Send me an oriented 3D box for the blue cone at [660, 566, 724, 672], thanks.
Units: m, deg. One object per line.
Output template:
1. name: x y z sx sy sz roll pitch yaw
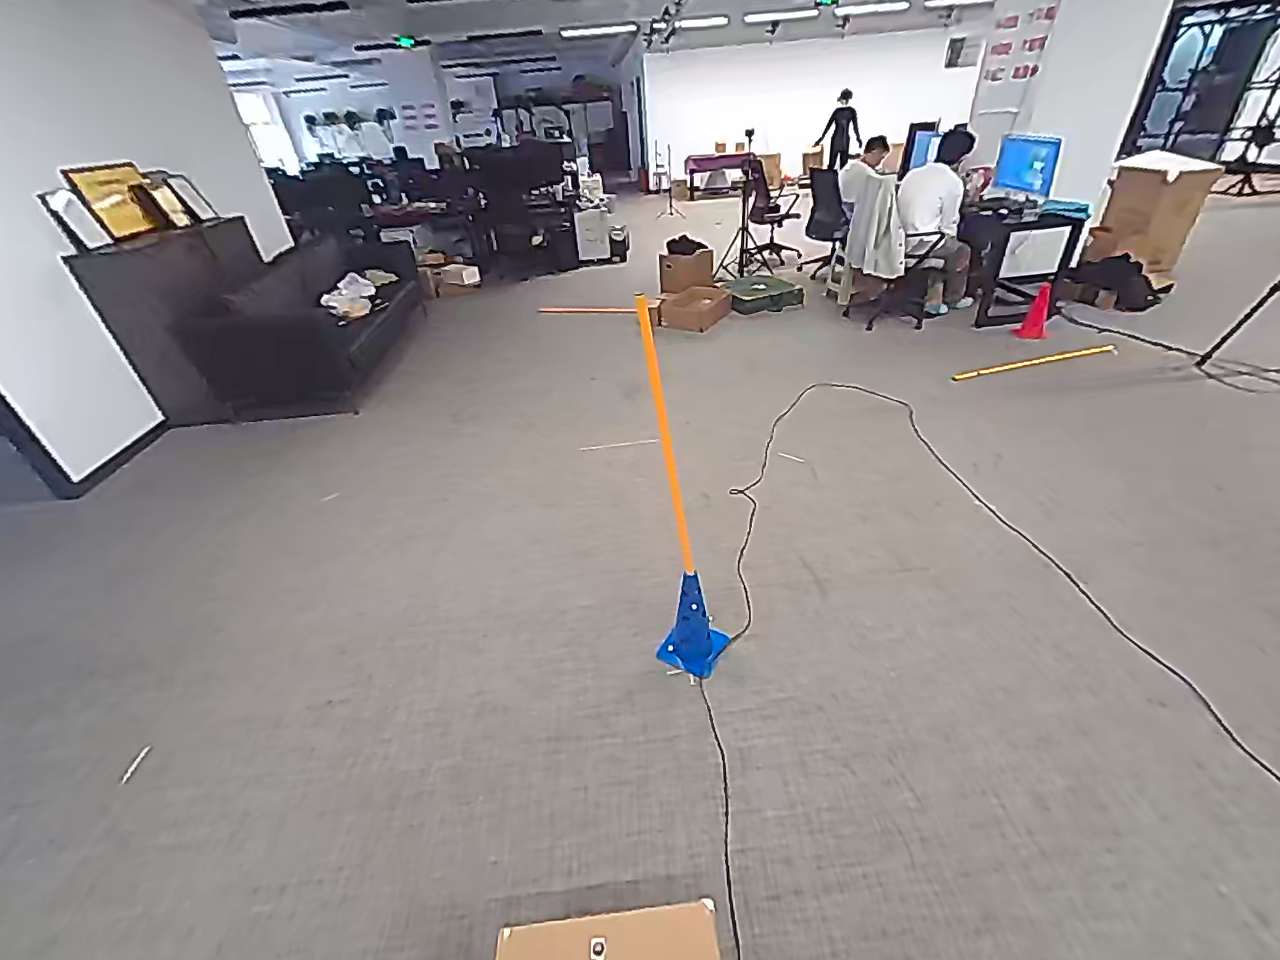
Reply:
1. blue cone: 0.166 0.432 1.765 0.192 0.380 0.193 13 39 26
